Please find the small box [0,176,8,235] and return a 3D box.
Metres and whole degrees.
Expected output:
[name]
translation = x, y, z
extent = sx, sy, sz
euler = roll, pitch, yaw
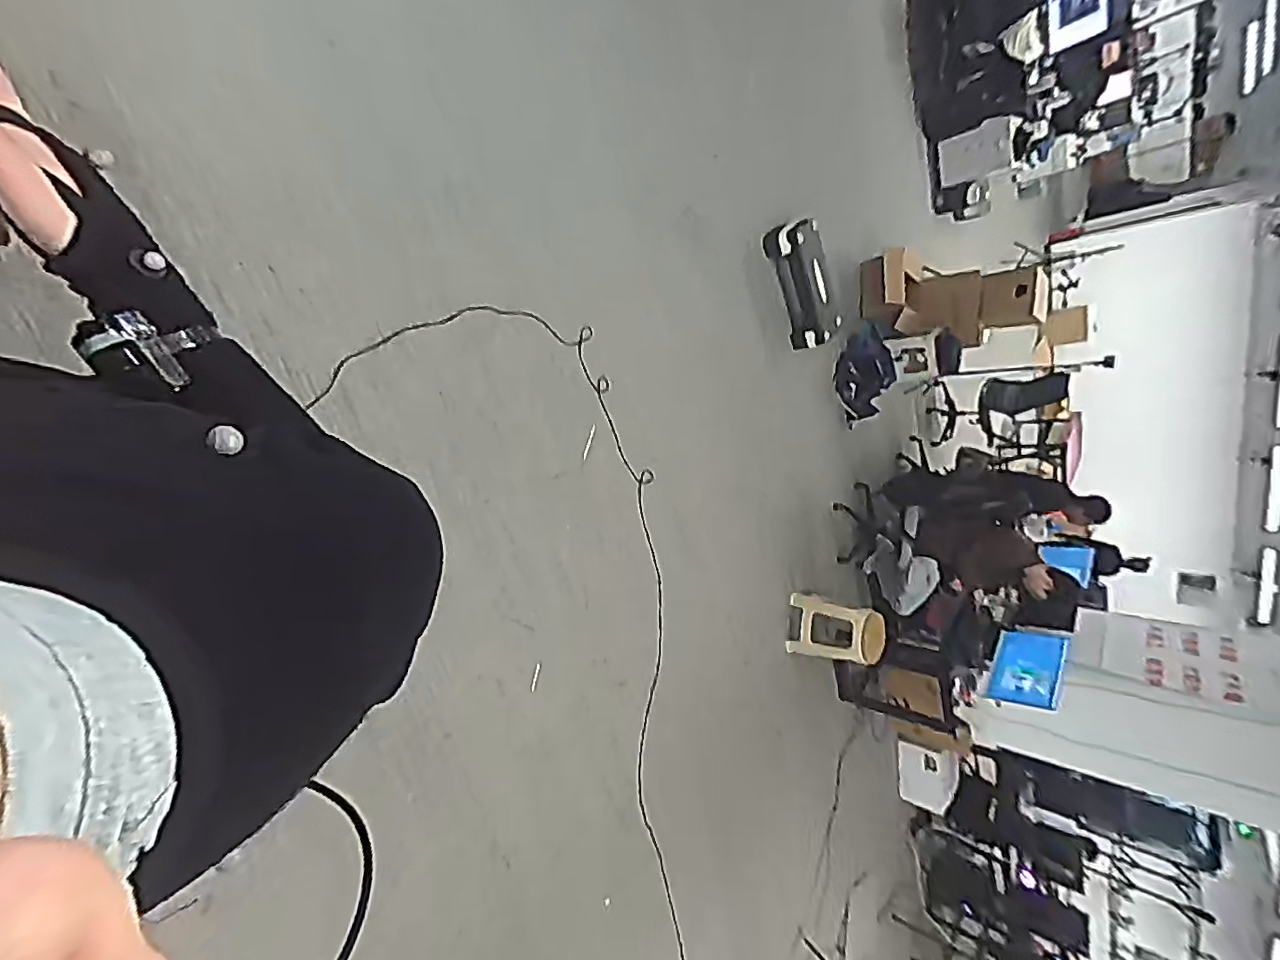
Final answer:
[small box]
translation = -0.502, -0.259, 0.298
extent = 0.168, 0.176, 0.179
euler = -12, 84, -41
